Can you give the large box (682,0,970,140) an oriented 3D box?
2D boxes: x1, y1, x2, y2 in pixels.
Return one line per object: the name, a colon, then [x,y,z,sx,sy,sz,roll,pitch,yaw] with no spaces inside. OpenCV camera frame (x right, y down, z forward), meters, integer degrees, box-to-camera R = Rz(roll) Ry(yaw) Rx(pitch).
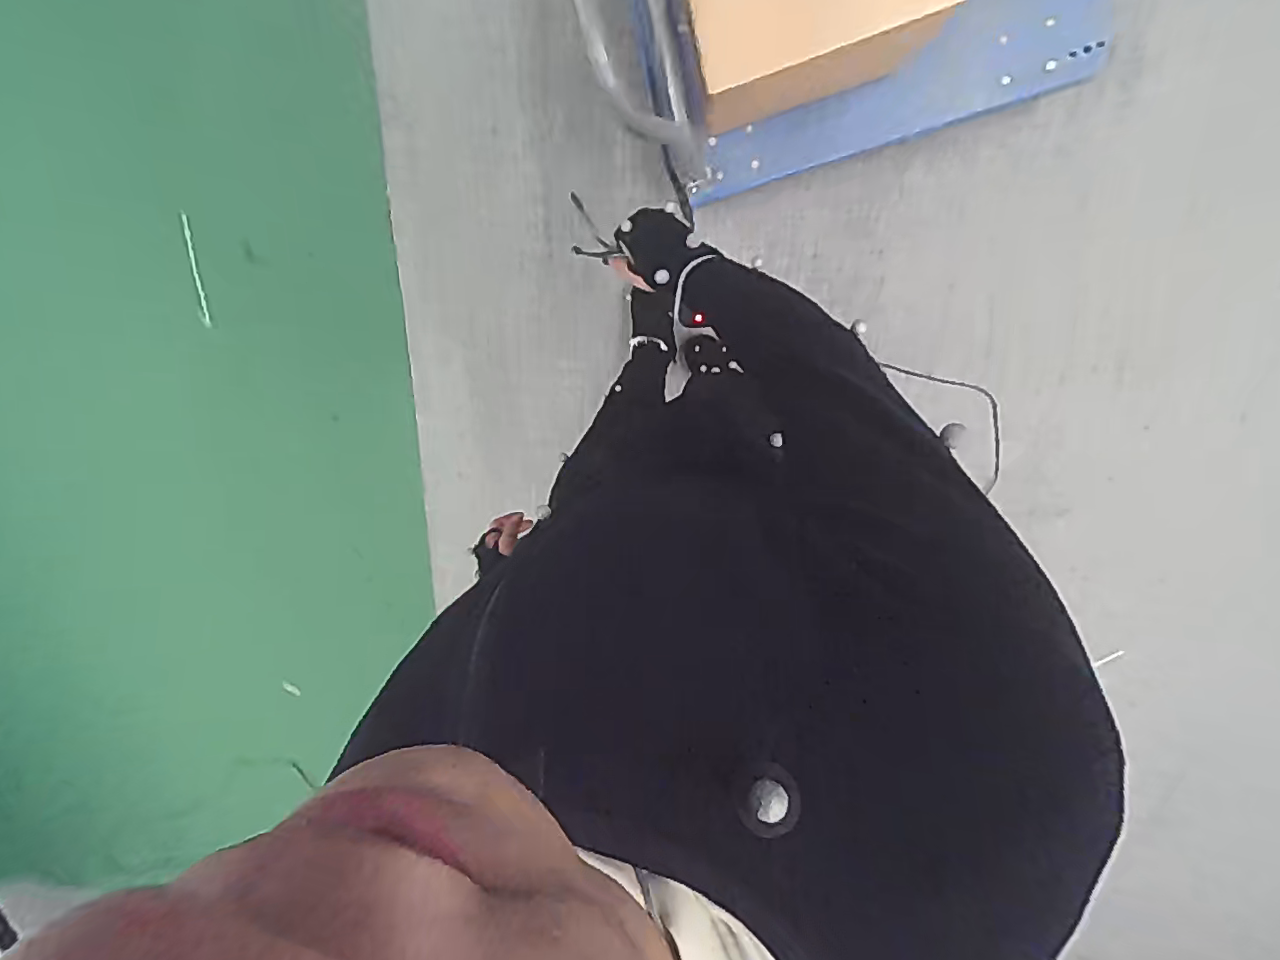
large box: [0.285,-0.858,0.942,0.408,0.320,0.320,-12,109,12]
